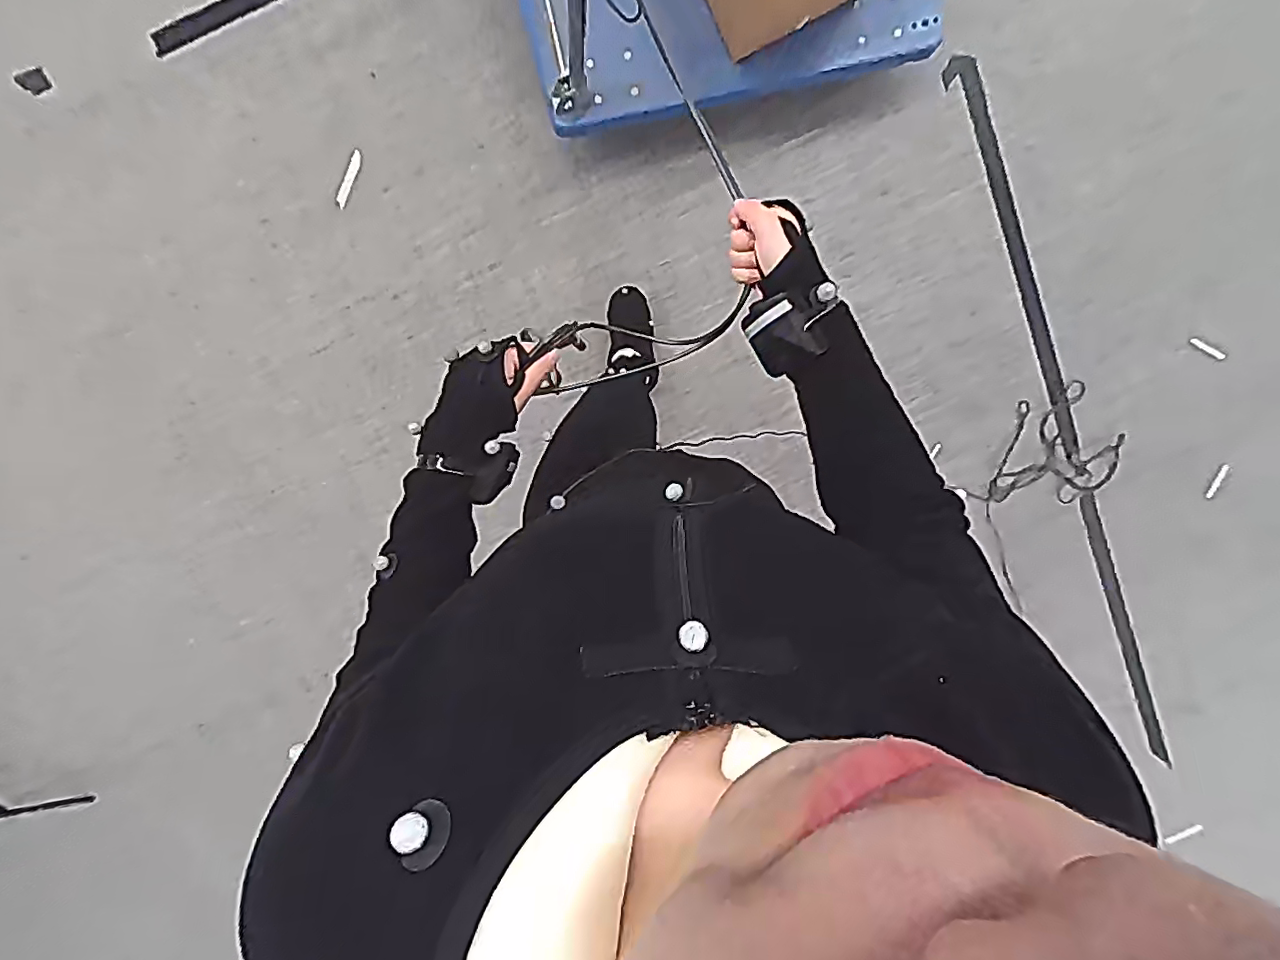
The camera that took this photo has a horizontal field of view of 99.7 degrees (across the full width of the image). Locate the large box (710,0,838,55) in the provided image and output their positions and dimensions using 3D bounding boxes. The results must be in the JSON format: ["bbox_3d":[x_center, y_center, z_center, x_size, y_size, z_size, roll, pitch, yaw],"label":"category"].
[{"bbox_3d":[0.250,-1.099,0.948,0.320,0.320,0.408,-28,102,3],"label":"large box"}]
